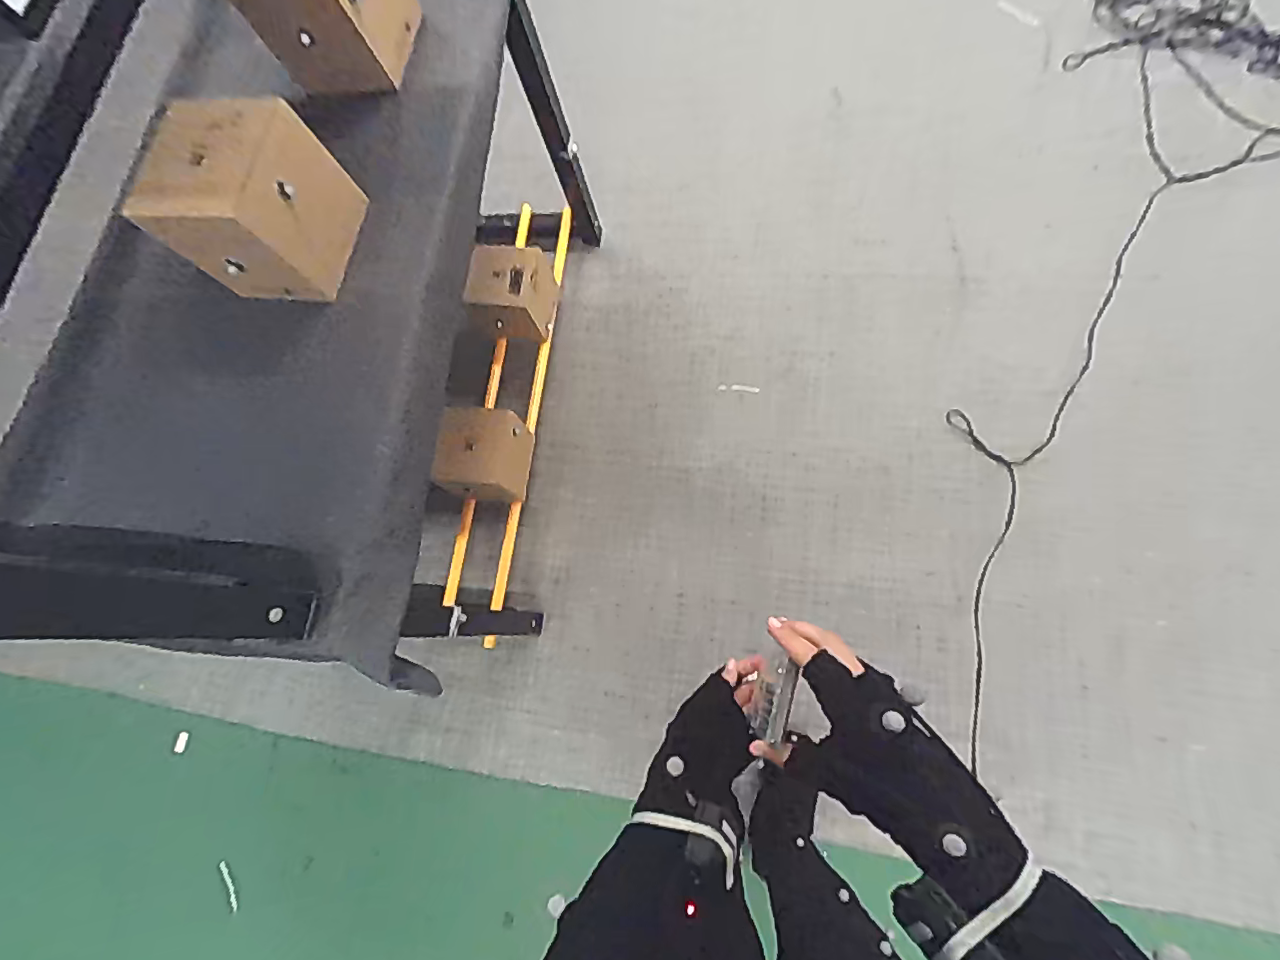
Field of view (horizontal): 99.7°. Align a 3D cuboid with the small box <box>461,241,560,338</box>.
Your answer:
[{"bbox_3d":[-0.318,-0.475,1.366,0.179,0.176,0.168,7,76,12],"label":"small box"}]

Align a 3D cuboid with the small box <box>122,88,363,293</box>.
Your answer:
[{"bbox_3d":[-0.503,-0.369,0.713,0.168,0.176,0.179,7,76,12],"label":"small box"}]
